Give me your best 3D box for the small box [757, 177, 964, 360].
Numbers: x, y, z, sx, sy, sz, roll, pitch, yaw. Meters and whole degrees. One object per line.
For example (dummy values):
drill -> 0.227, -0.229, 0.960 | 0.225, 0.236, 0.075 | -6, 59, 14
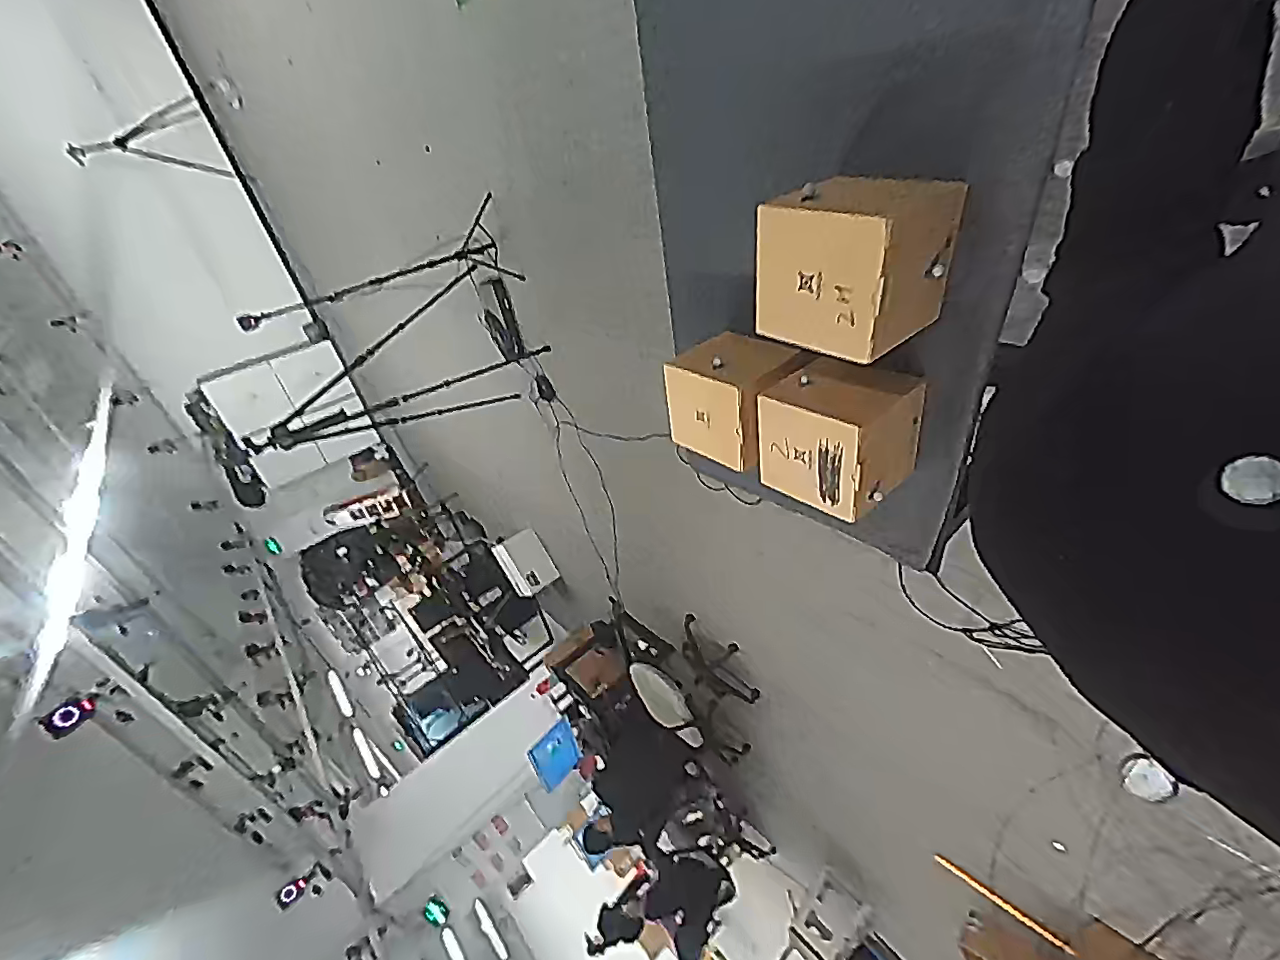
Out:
small box -> 0.273, -0.279, 0.695 | 0.179, 0.176, 0.168 | 31, 143, 40

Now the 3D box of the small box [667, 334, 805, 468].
small box -> 0.175, -0.153, 0.986 | 0.179, 0.176, 0.168 | 28, 141, 41
